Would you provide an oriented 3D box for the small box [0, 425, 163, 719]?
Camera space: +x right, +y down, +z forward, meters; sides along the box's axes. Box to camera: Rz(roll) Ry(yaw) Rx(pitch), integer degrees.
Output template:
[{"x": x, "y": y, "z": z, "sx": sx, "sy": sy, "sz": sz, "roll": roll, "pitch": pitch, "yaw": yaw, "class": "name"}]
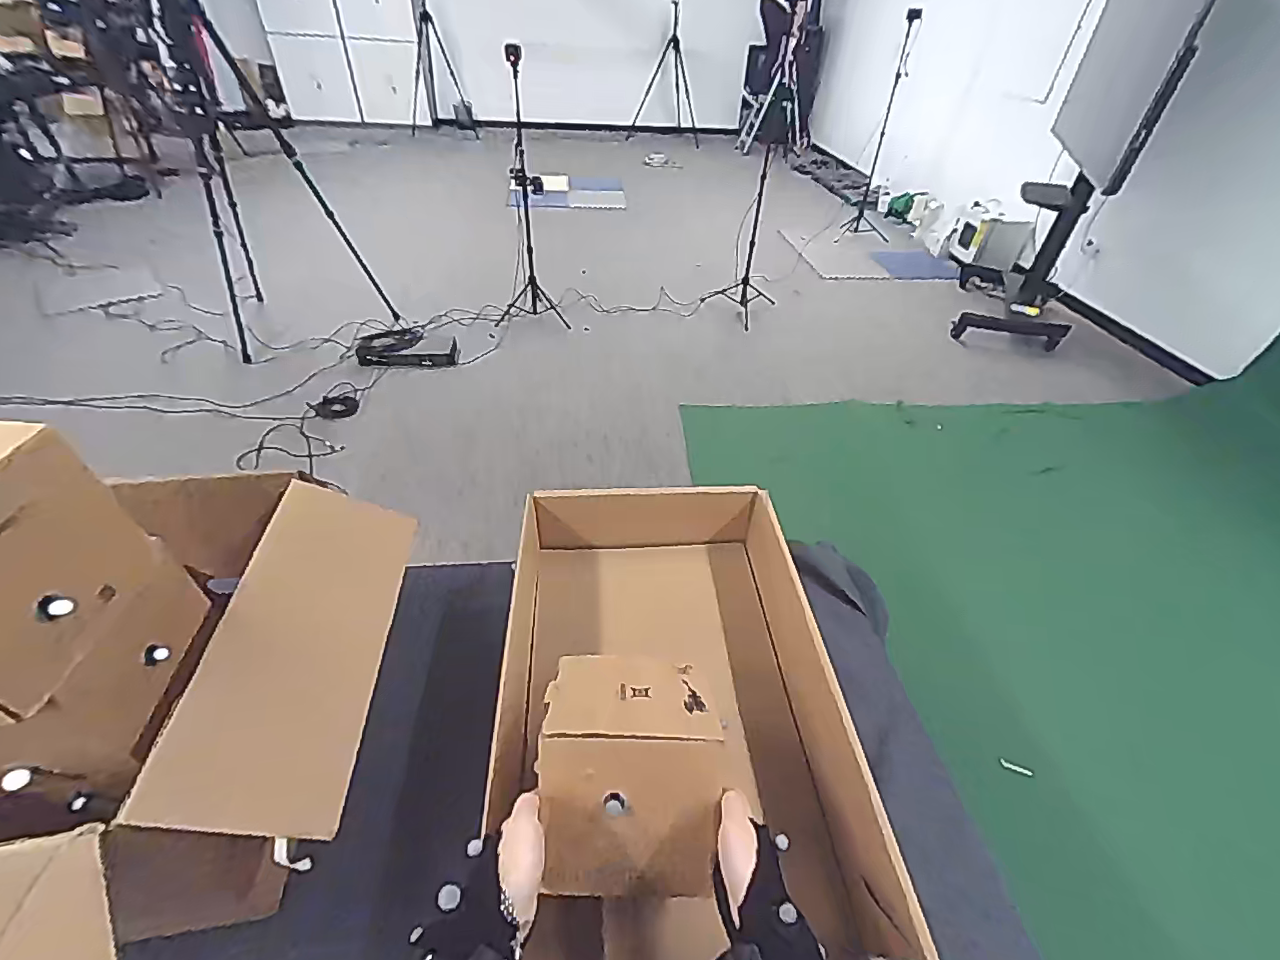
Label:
[{"x": -0.547, "y": 0.071, "z": 0.420, "sx": 0.179, "sy": 0.176, "sz": 0.168, "roll": 2, "pitch": 42, "yaw": -3, "class": "small box"}]
